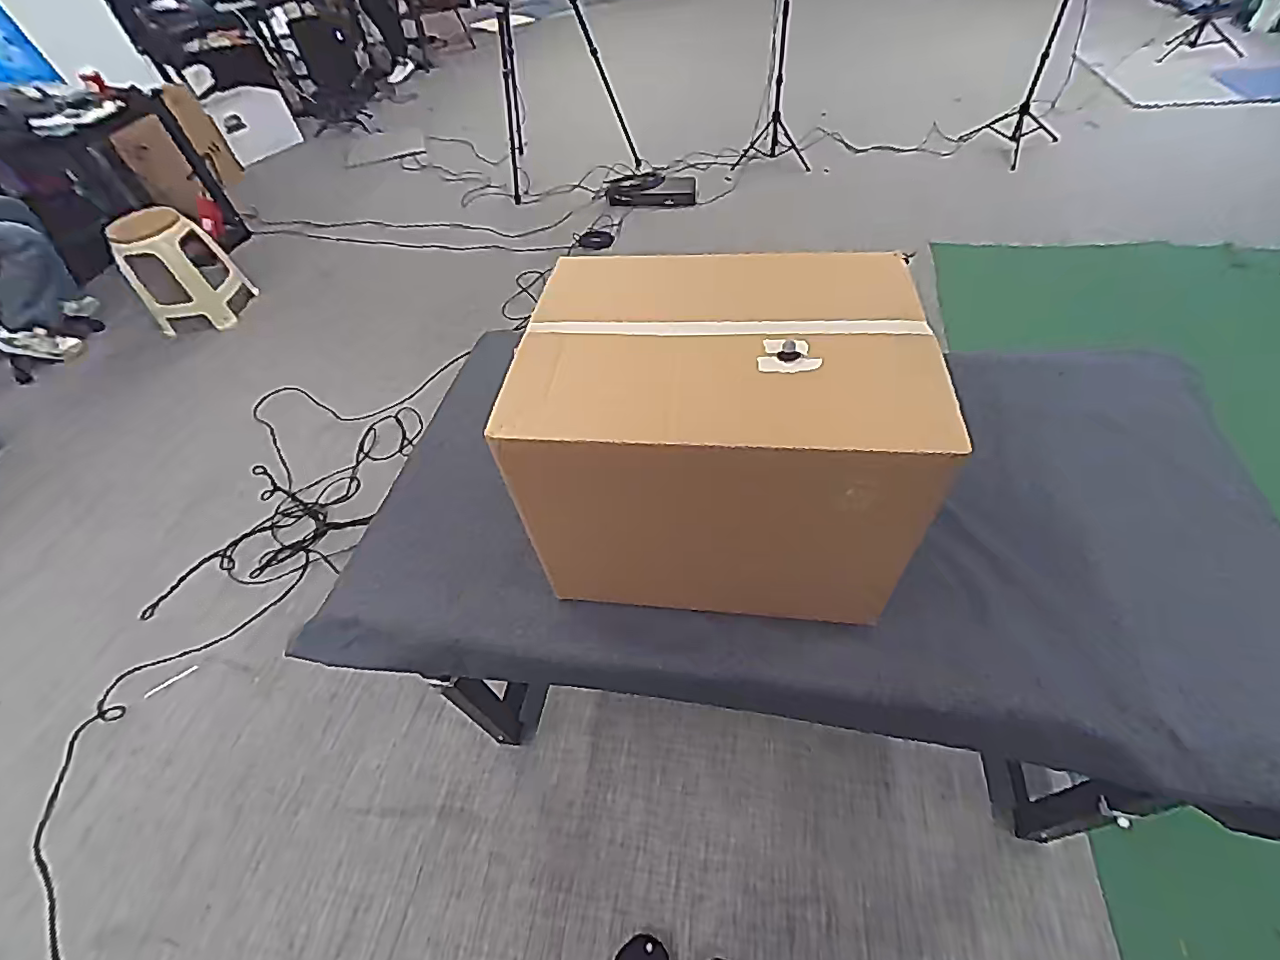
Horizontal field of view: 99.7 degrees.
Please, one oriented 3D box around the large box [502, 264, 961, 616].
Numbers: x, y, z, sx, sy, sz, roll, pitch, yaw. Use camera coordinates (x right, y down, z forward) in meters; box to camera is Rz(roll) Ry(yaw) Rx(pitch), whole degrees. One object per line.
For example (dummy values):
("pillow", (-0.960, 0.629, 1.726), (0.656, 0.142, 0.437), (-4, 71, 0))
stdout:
("large box", (0.094, -0.048, 0.672), (0.408, 0.320, 0.320), (3, 51, 7))
